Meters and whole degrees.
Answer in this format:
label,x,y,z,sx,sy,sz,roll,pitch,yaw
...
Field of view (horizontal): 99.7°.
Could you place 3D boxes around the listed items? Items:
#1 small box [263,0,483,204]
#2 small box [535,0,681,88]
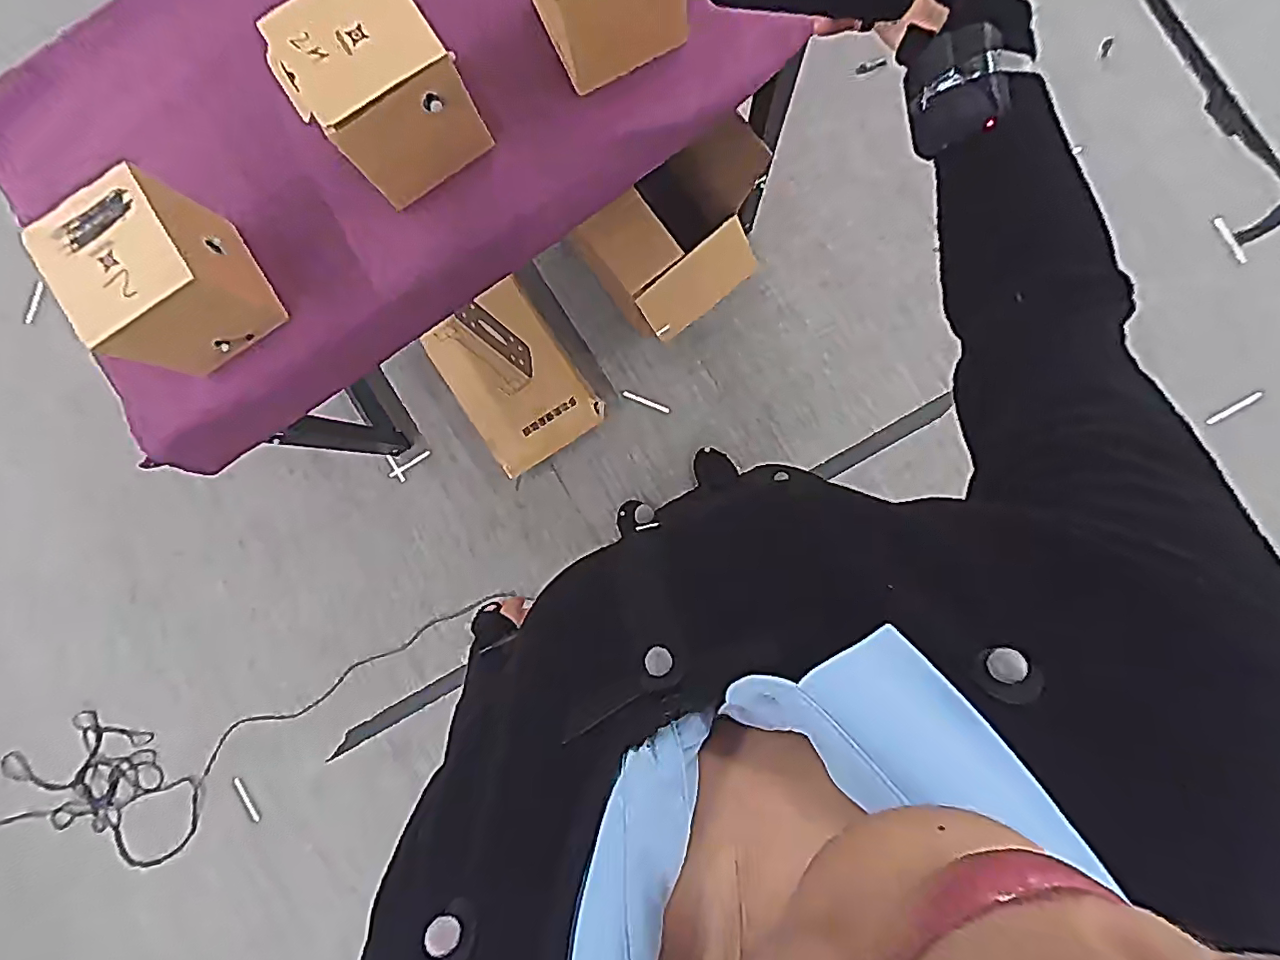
label,x,y,z,sx,sy,sz,roll,pitch,yaw
small box,-0.332,-0.515,0.717,0.179,0.176,0.168,-33,85,3
small box,-0.053,-0.668,0.703,0.179,0.176,0.168,-26,88,3
